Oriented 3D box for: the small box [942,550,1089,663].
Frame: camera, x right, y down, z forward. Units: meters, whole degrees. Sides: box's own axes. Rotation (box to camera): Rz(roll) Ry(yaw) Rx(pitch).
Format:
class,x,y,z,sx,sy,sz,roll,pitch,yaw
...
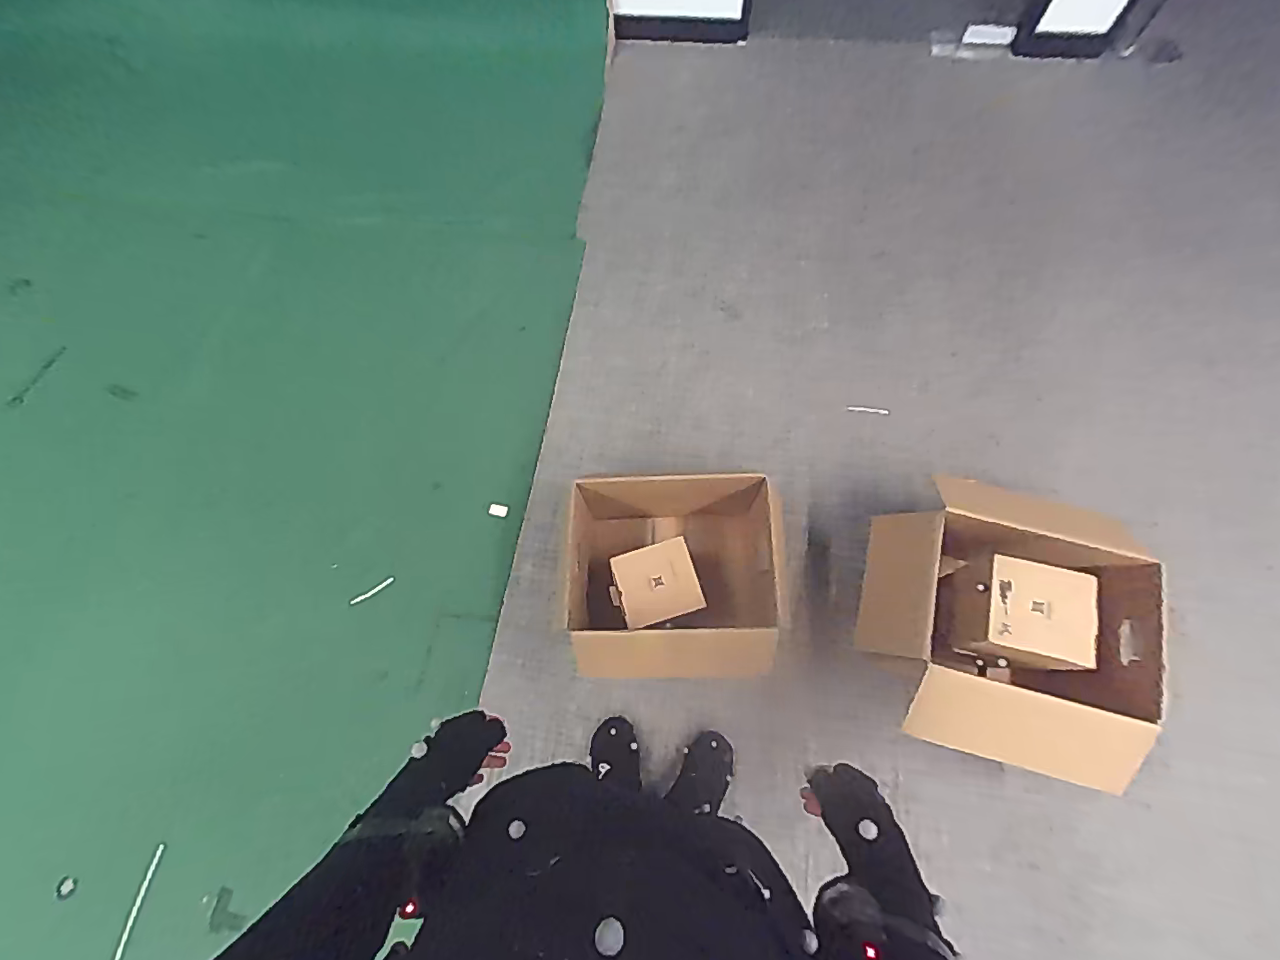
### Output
class,x,y,z,sx,sy,sz,roll,pitch,yaw
small box,0.725,0.251,1.054,0.179,0.176,0.168,13,71,8
